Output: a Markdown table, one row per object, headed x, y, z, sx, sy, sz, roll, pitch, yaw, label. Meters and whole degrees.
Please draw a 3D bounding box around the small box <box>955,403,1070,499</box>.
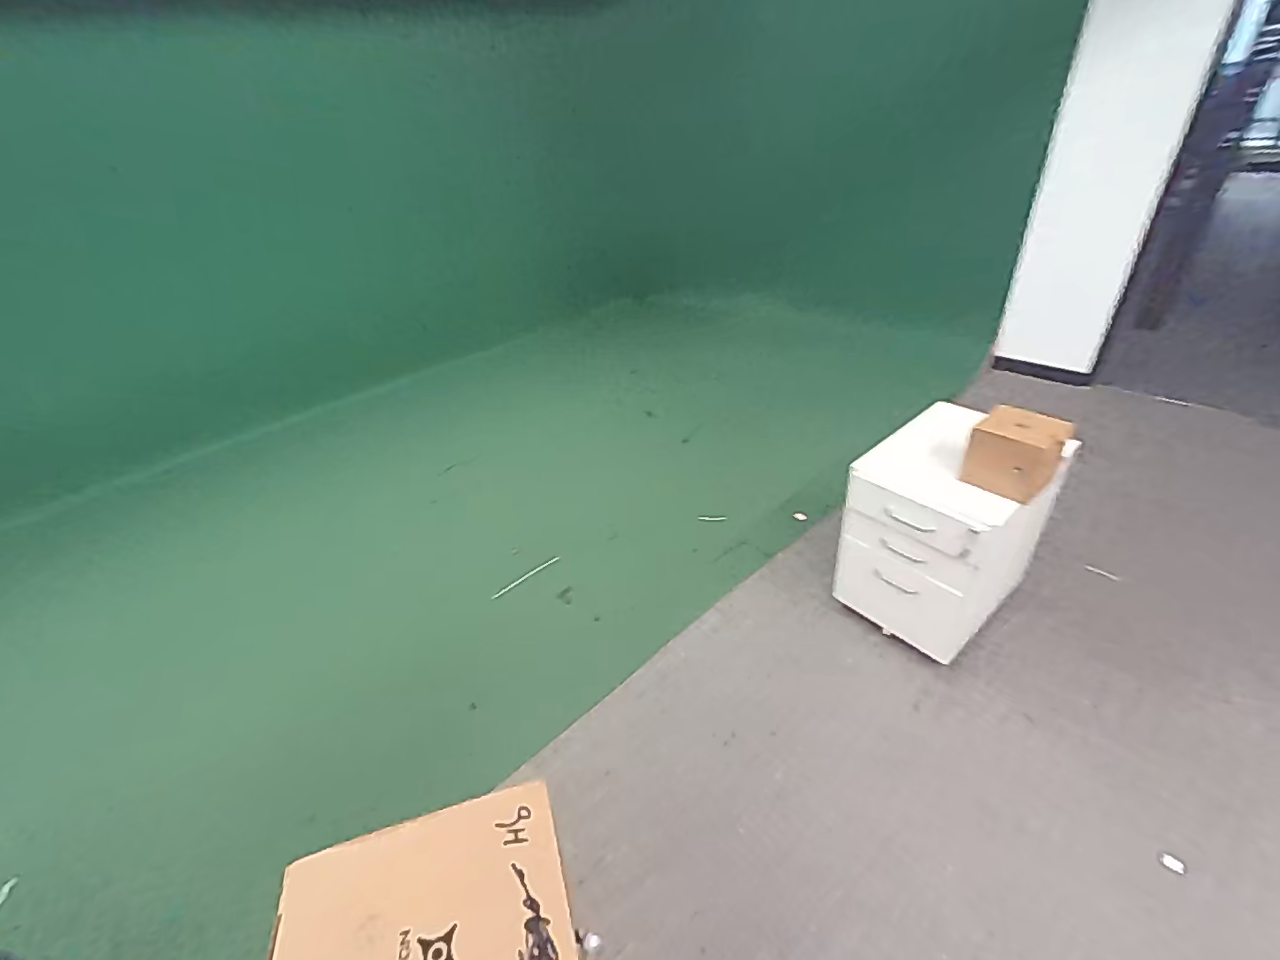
| x | y | z | sx | sy | sz | roll | pitch | yaw | label |
| --- | --- | --- | --- | --- | --- | --- | --- | --- | --- |
| 0.951 | -0.072 | 1.390 | 0.168 | 0.176 | 0.179 | -28 | 39 | -29 | small box |
